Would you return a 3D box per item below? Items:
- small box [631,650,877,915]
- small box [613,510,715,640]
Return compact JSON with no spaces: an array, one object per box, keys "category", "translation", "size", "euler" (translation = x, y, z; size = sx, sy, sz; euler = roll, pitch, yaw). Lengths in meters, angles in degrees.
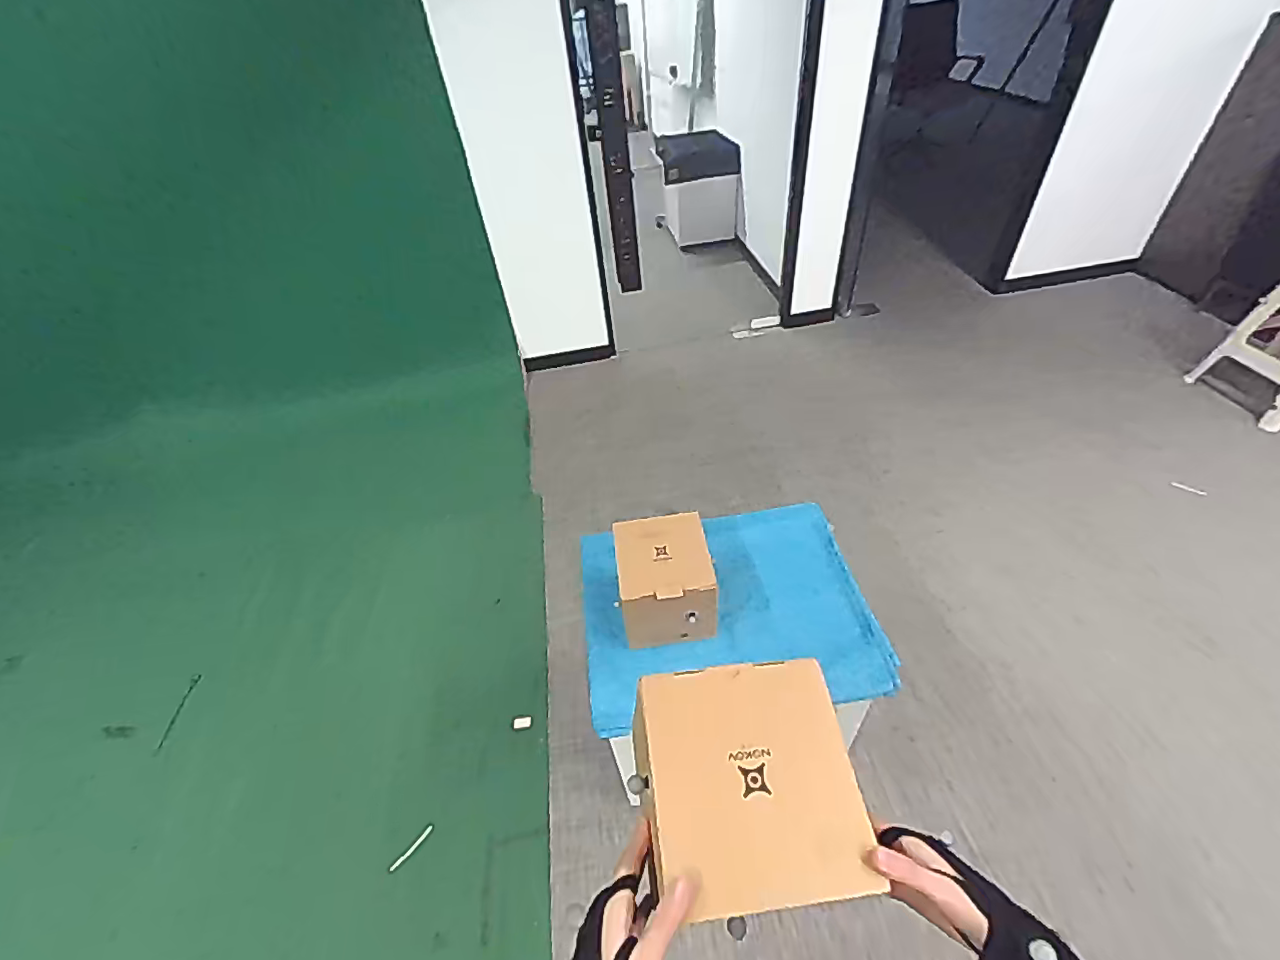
[{"category":"small box","translation":[0.081,0.276,0.495],"size":[0.168,0.176,0.179],"euler":[-3,51,-6]},{"category":"small box","translation":[0.044,0.182,1.004],"size":[0.168,0.176,0.179],"euler":[-6,43,-2]}]
